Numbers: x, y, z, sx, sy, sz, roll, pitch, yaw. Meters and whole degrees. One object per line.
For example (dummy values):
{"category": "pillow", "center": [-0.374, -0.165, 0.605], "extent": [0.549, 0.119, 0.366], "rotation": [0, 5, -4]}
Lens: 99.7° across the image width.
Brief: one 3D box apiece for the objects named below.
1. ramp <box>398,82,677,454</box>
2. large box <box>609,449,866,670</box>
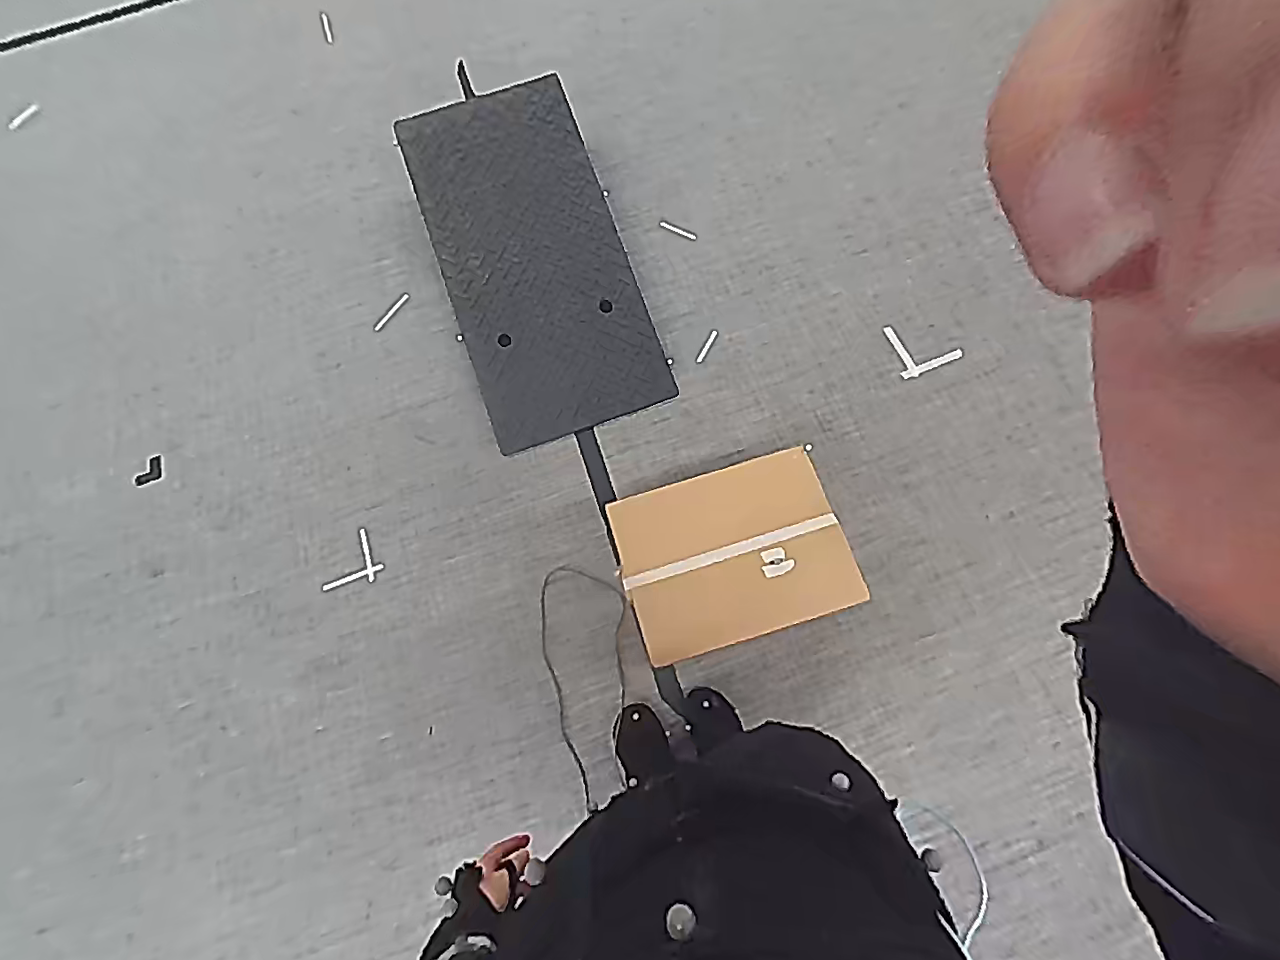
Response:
{"category": "ramp", "center": [-0.291, -0.605, 1.484], "extent": [0.509, 0.206, 0.991], "rotation": [-21, 72, -4]}
{"category": "large box", "center": [0.178, 0.183, 1.135], "extent": [0.408, 0.320, 0.320], "rotation": [-17, 71, -3]}
